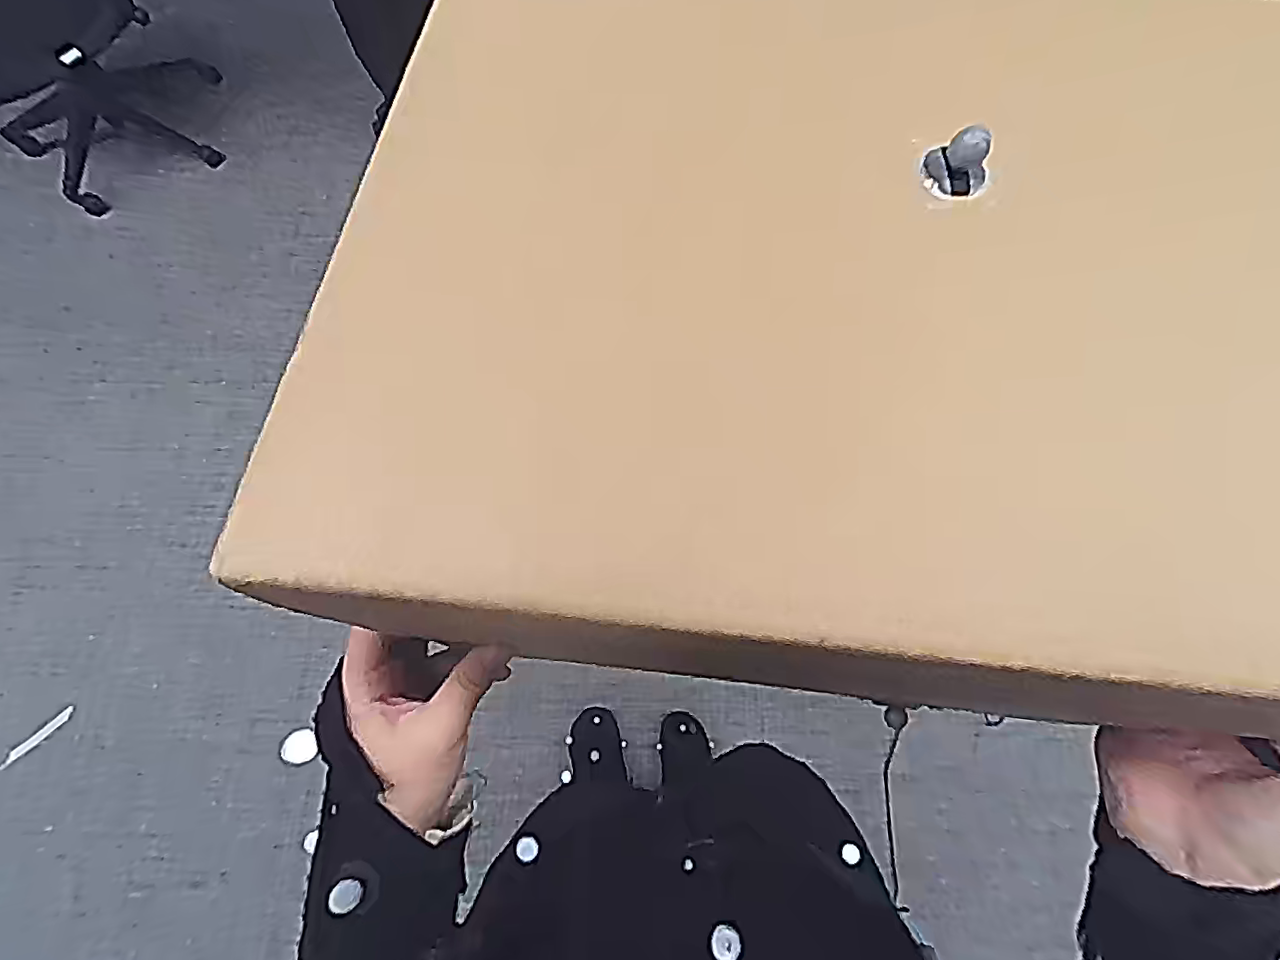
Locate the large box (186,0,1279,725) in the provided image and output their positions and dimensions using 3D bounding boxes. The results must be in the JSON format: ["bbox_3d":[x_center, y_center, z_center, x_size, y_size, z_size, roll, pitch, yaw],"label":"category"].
[{"bbox_3d":[0.084,-0.045,0.327,0.408,0.320,0.320,5,71,1],"label":"large box"}]
